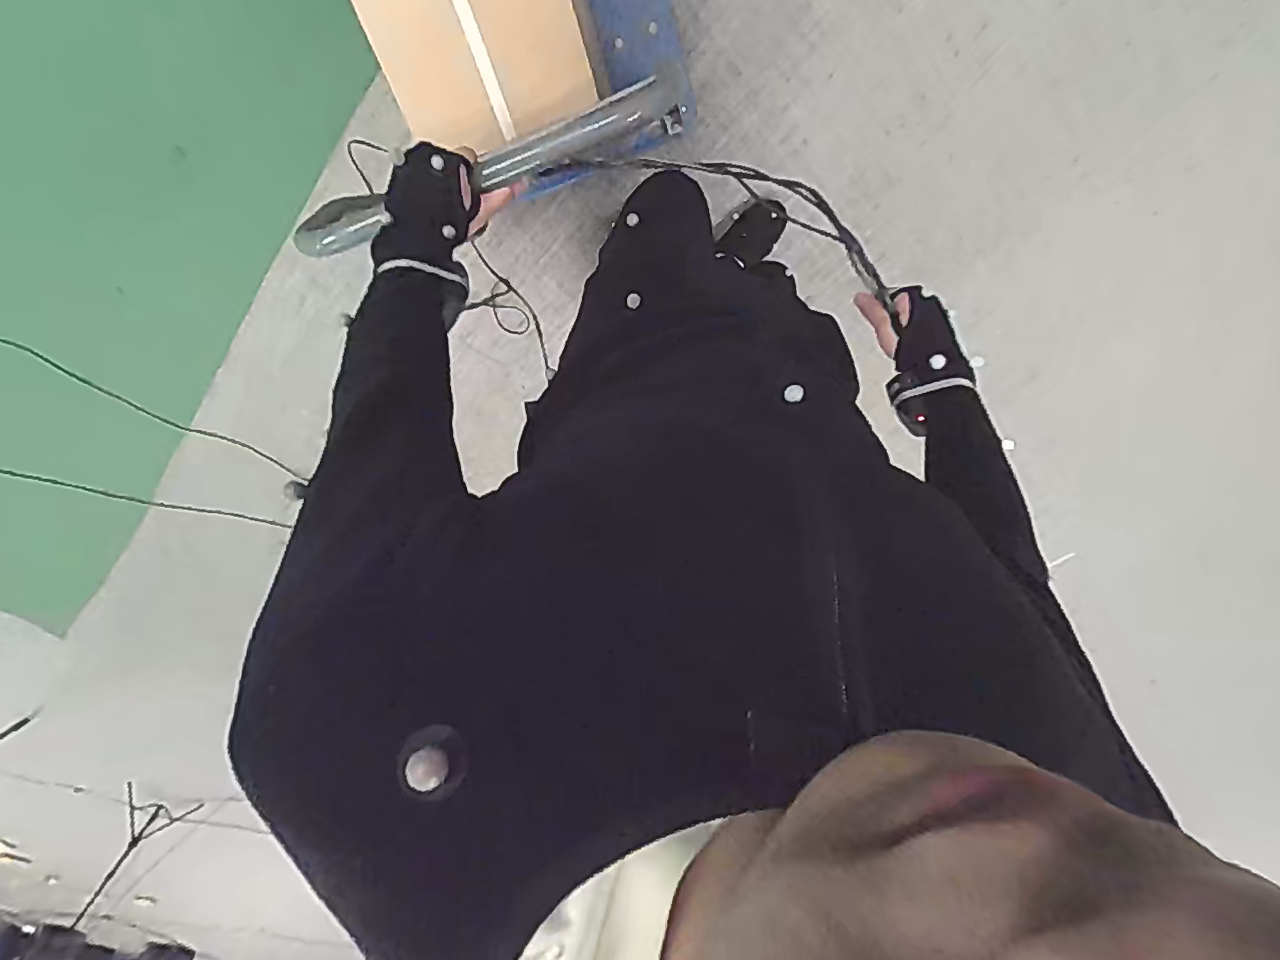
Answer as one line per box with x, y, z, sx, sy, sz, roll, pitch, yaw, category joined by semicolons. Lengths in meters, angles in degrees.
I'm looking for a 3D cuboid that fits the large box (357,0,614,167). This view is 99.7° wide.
-0.260;-0.805;0.914;0.320;0.320;0.408;-13;122;11;large box
